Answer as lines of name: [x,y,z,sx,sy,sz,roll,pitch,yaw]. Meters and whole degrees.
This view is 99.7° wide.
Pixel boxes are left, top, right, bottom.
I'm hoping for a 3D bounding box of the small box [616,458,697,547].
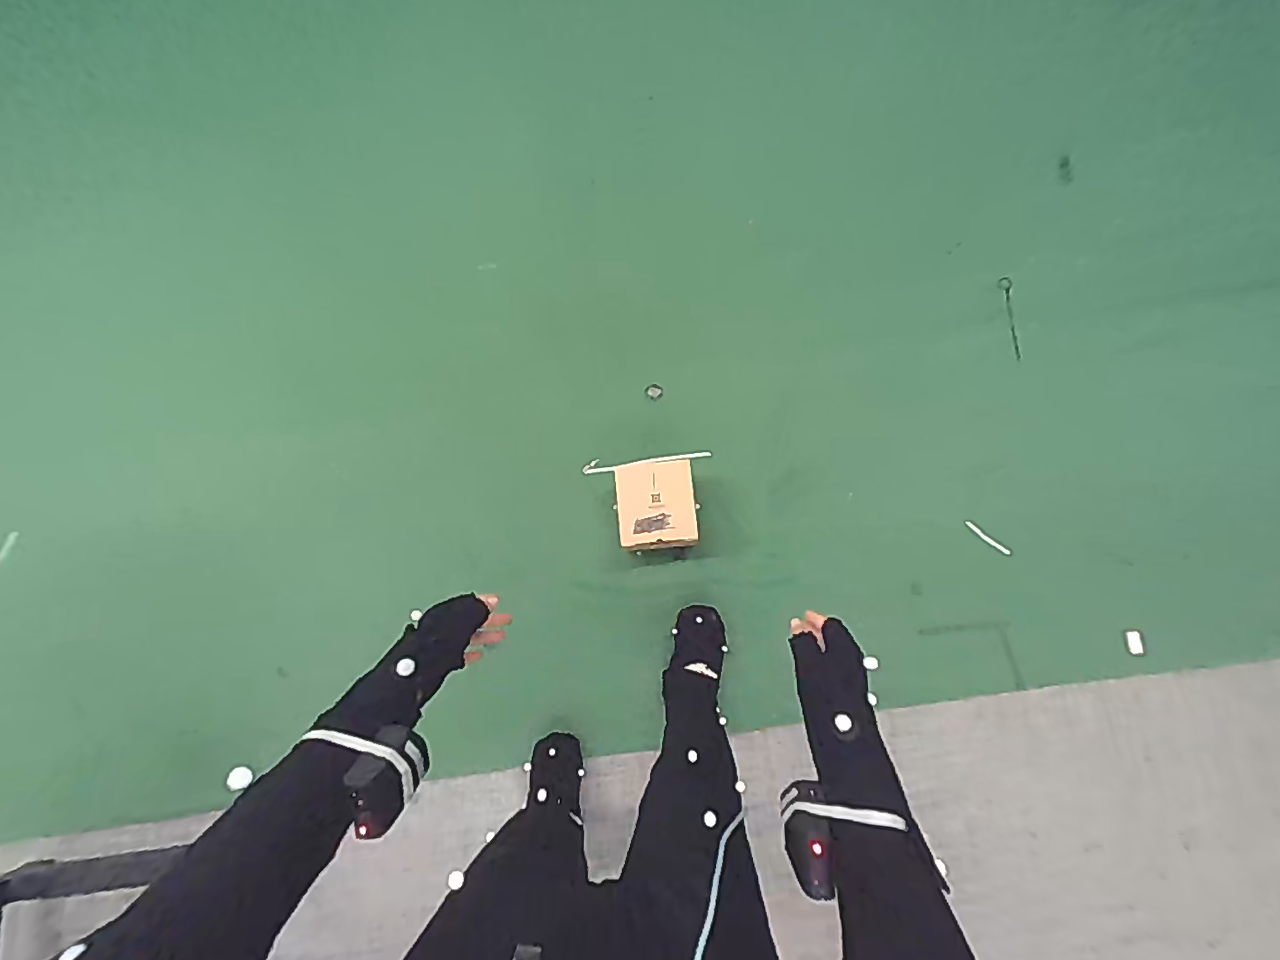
small box: [0.038,0.058,1.230,0.168,0.176,0.179,-6,78,1]
